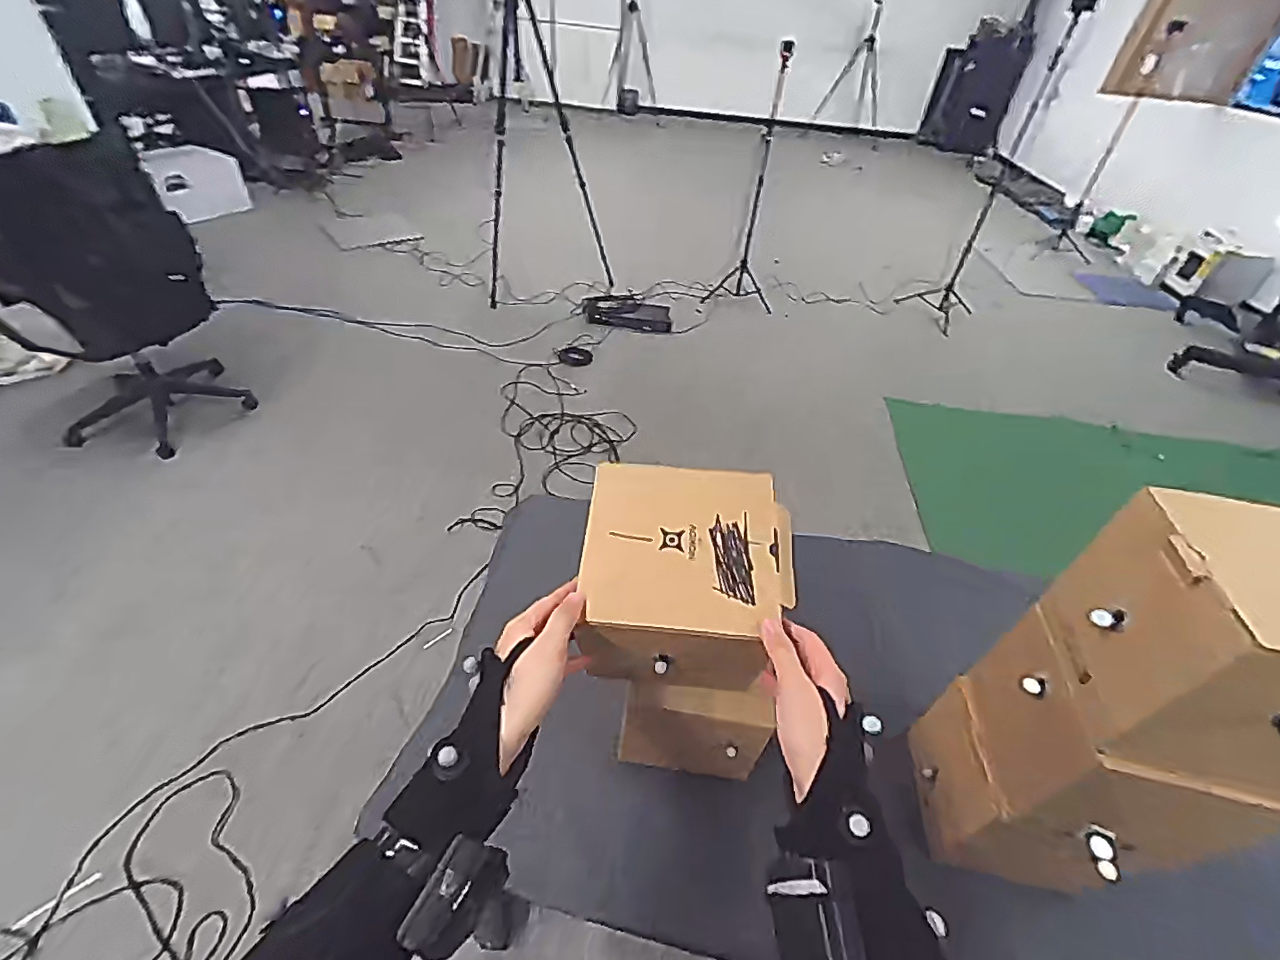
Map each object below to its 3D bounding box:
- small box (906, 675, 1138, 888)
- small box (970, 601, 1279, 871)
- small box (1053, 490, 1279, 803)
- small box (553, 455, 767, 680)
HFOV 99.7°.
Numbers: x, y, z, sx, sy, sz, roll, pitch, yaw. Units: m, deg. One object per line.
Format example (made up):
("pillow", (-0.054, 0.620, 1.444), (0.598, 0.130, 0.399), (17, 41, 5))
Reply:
("small box", (0.459, 0.374, 0.666), (0.179, 0.176, 0.168), (11, 42, 6))
("small box", (0.469, 0.259, 0.552), (0.168, 0.176, 0.179), (11, 43, 8))
("small box", (0.483, 0.137, 0.444), (0.179, 0.176, 0.168), (12, 43, 9))
("small box", (0.023, 0.094, 0.543), (0.179, 0.176, 0.168), (4, 57, 3))
